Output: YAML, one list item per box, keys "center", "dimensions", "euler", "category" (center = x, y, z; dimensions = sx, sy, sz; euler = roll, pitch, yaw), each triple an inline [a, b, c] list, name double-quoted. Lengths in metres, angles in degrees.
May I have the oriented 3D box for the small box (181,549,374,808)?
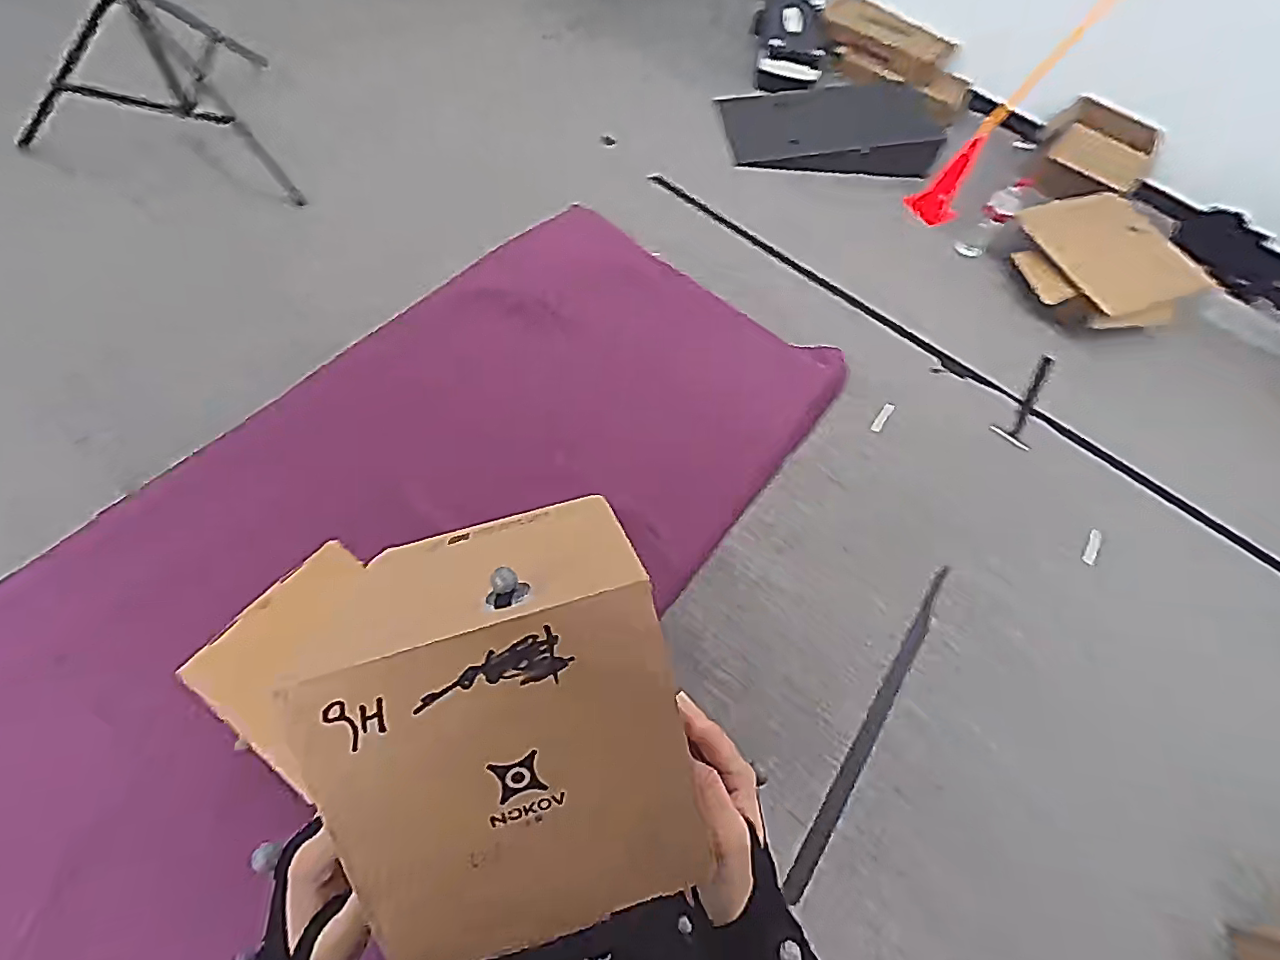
- center: [-0.307, 0.207, 0.574]
  dimensions: [0.179, 0.176, 0.168]
  euler: [36, 63, 9]
  category: "small box"

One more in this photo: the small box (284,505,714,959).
- center: [-0.068, 0.134, 0.334]
  dimensions: [0.168, 0.176, 0.179]
  euler: [-15, 104, -7]
  category: "small box"
